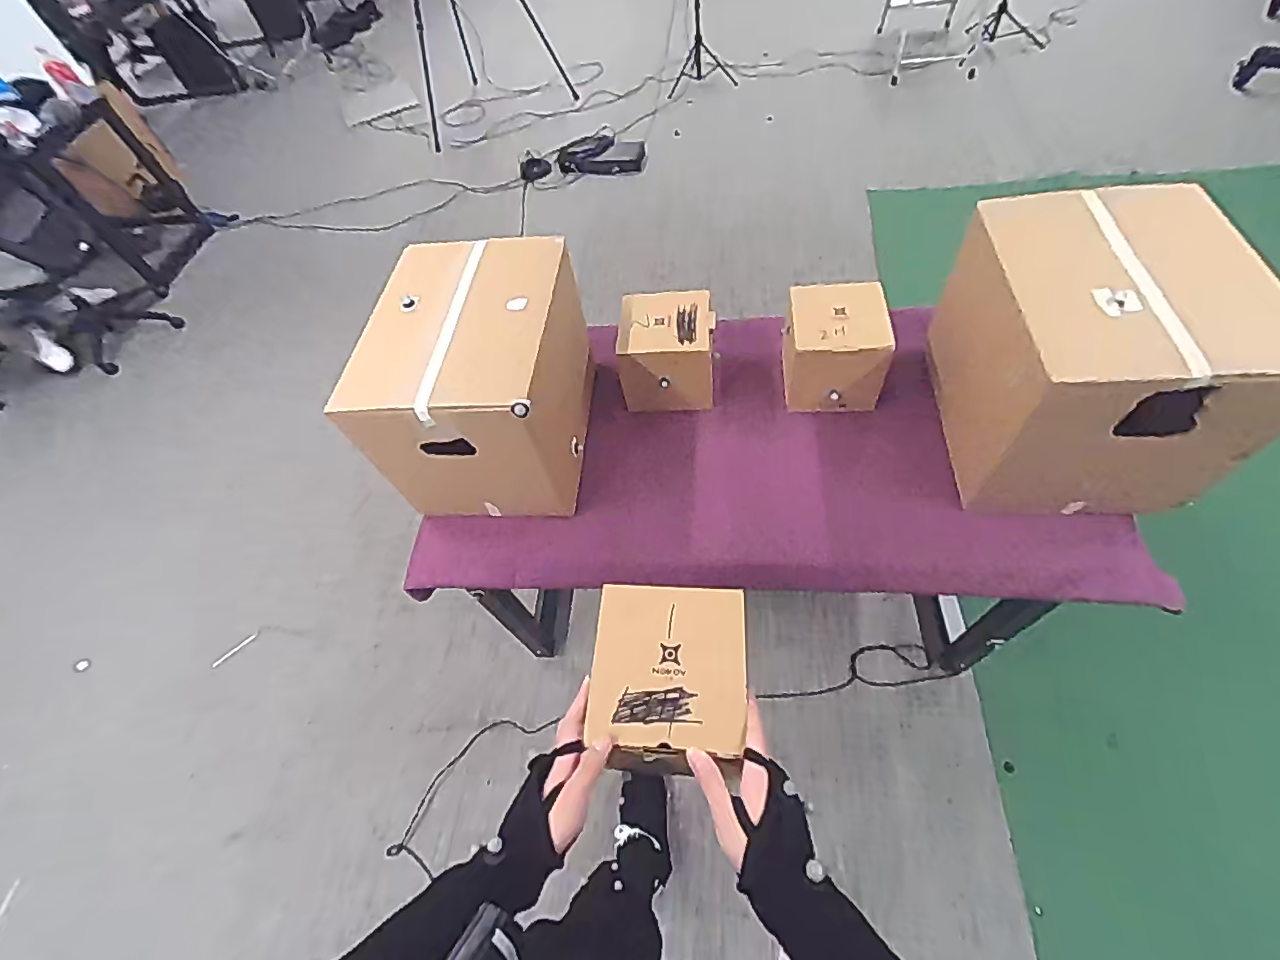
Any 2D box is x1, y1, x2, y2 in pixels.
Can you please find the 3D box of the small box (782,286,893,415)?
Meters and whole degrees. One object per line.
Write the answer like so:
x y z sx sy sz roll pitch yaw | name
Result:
0.365 -0.245 1.033 0.168 0.176 0.179 0 57 9 | small box

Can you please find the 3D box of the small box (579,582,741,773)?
0.033 0.238 0.641 0.168 0.176 0.179 1 54 6 | small box

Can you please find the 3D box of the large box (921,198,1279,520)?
0.690 -0.185 0.863 0.320 0.320 0.408 0 57 10 | large box
